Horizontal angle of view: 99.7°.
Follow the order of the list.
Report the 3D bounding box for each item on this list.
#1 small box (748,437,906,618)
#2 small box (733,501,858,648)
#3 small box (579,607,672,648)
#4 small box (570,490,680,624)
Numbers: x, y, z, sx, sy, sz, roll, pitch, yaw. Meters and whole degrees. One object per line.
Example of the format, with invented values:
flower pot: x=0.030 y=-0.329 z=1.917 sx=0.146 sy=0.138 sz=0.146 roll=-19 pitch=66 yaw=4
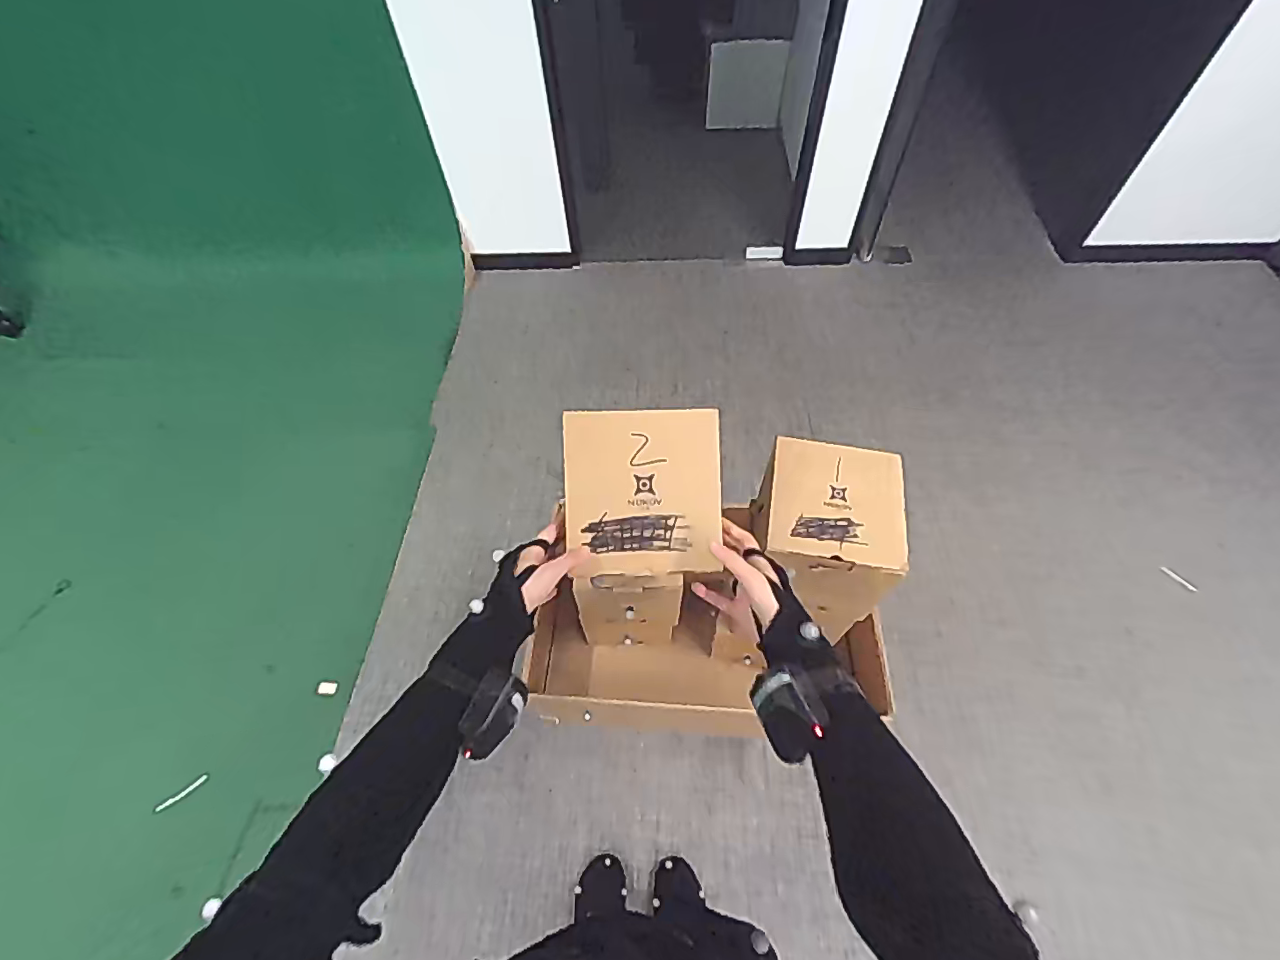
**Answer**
small box: x=0.246 y=0.070 z=0.739 sx=0.168 sy=0.176 sz=0.179 roll=10 pitch=56 yaw=7
small box: x=0.245 y=0.158 z=0.877 sx=0.168 sy=0.176 sz=0.179 roll=7 pitch=57 yaw=6
small box: x=-0.023 y=0.211 z=1.045 sx=0.168 sy=0.176 sz=0.179 roll=0 pitch=56 yaw=2
small box: x=-0.017 y=0.132 z=0.900 sx=0.168 sy=0.176 sz=0.179 roll=0 pitch=57 yaw=1
